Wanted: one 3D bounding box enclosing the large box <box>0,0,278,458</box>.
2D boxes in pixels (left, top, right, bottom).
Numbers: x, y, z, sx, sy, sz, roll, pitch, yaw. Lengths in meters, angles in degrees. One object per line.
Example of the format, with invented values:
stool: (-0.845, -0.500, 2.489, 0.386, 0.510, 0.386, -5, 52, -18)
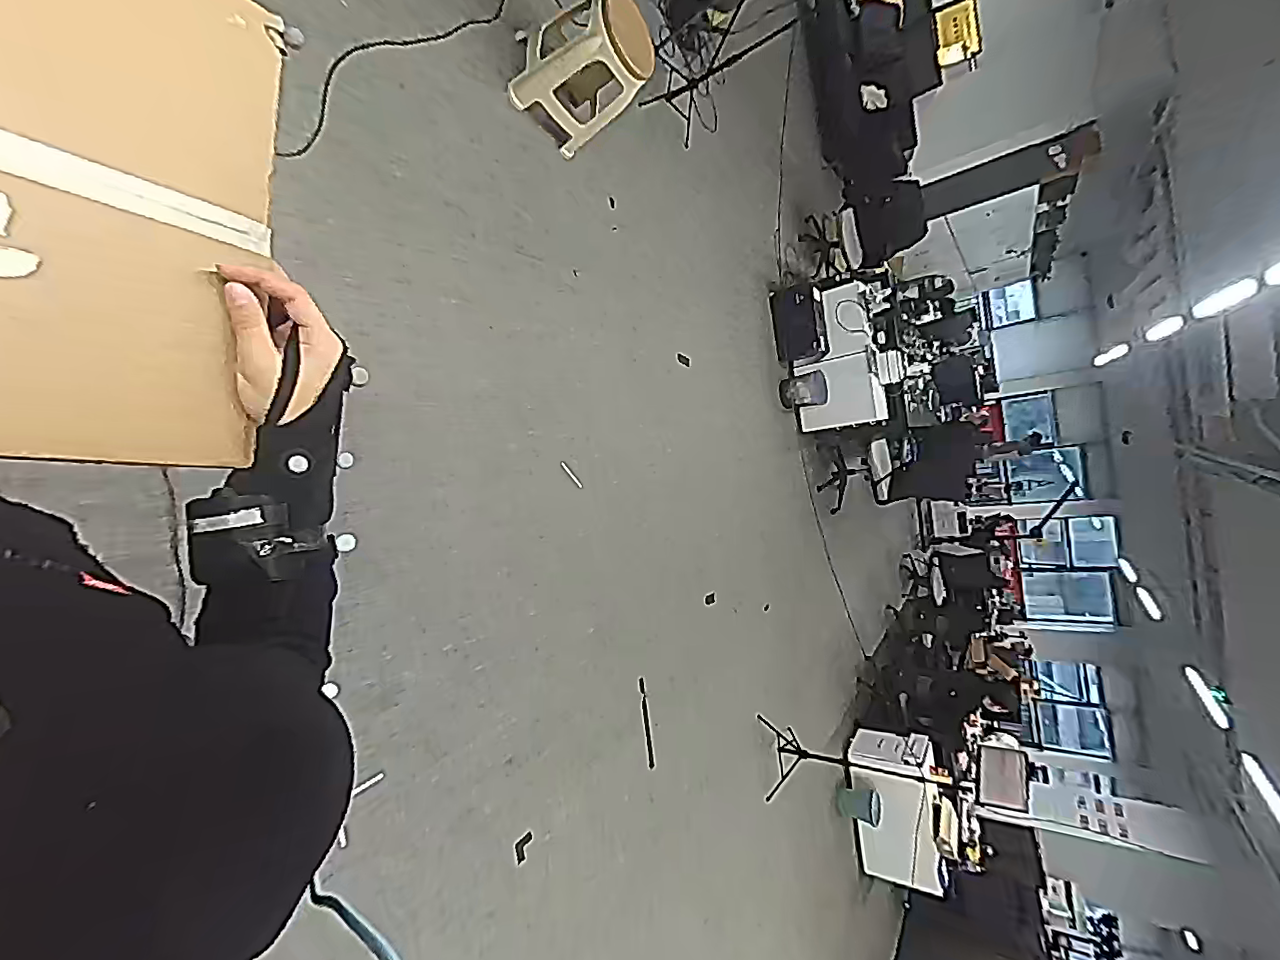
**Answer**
large box: (-0.504, -0.178, 0.315, 0.408, 0.320, 0.320, 3, 91, -54)
